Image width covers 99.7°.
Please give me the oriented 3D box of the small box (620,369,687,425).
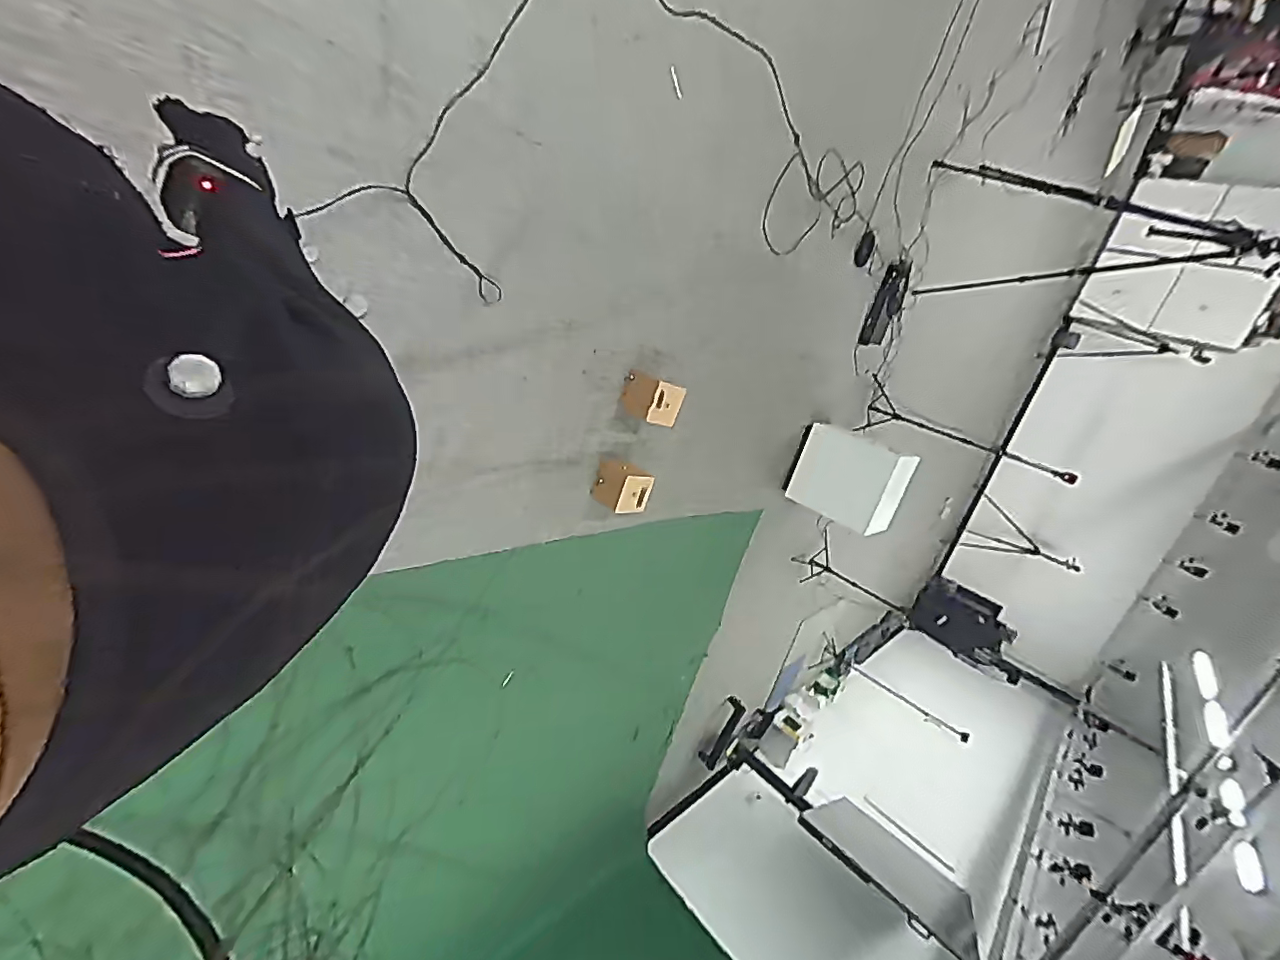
[{"bbox_3d":[0.048,-0.331,2.141,0.179,0.176,0.168,4,112,-51],"label":"small box"}]
